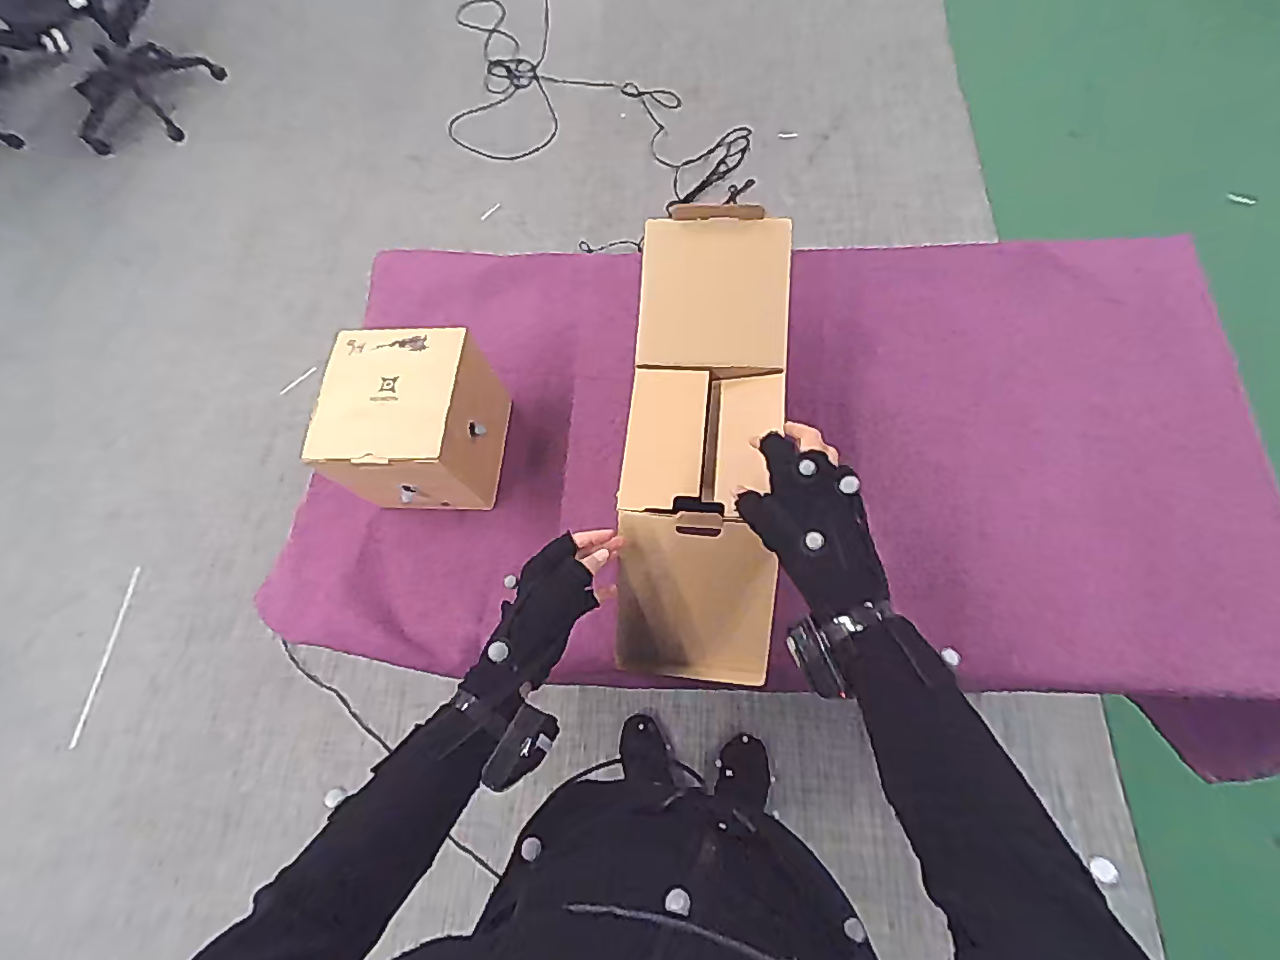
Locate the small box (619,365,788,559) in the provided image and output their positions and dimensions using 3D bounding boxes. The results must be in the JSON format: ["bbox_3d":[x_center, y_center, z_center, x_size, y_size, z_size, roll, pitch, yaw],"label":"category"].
[{"bbox_3d":[0.078,-0.013,0.632,0.168,0.176,0.179,4,68,8],"label":"small box"}]

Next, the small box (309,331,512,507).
[{"bbox_3d":[-0.277,-0.069,0.697,0.168,0.176,0.179,1,69,7],"label":"small box"}]
